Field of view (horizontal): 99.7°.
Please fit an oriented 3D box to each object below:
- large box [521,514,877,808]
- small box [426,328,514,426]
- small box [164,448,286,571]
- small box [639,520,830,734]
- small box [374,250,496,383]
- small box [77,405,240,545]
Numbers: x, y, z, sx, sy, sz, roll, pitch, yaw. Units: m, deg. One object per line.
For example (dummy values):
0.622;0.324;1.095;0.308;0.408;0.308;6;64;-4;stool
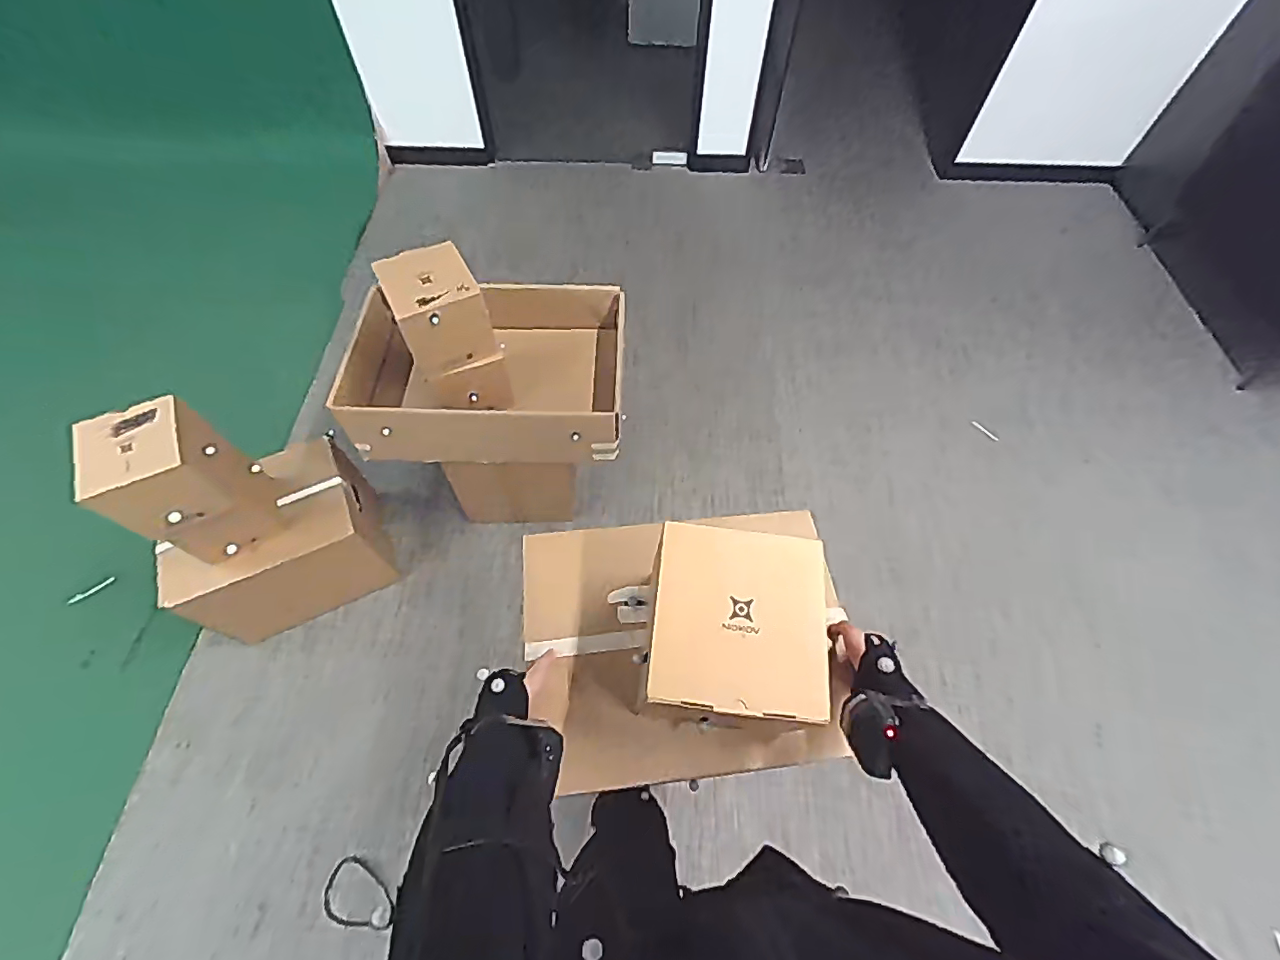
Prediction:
0.055;0.272;0.799;0.408;0.320;0.320;-6;60;-5;large box
-0.402;-0.247;1.251;0.168;0.176;0.179;-19;61;-13;small box
-0.913;0.068;1.176;0.168;0.176;0.179;-28;64;-15;small box
0.091;0.164;0.581;0.168;0.176;0.179;7;62;1;small box
-0.415;-0.333;1.111;0.168;0.176;0.179;-25;62;-15;small box
-0.906;-0.006;1.030;0.168;0.176;0.179;-23;63;-13;small box
